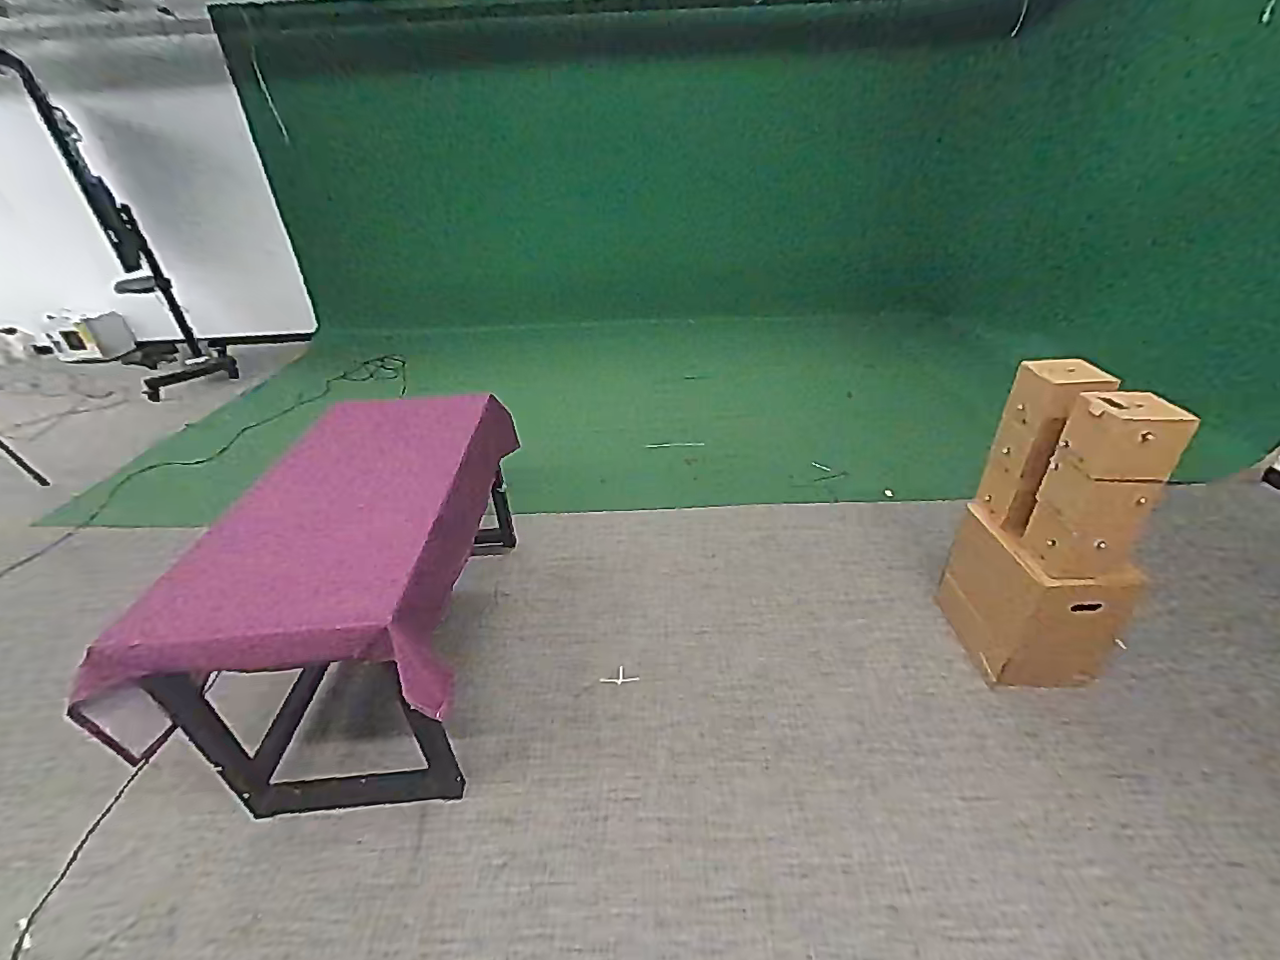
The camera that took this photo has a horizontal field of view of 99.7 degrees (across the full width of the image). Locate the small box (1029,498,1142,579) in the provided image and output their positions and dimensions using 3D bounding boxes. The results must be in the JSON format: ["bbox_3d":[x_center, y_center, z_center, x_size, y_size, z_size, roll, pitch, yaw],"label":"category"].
[{"bbox_3d":[1.244,0.165,1.533,0.179,0.176,0.168,0,32,4],"label":"small box"}]

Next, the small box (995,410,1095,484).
[{"bbox_3d":[1.218,-0.097,1.647,0.179,0.176,0.168,-3,33,4],"label":"small box"}]

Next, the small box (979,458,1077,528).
[{"bbox_3d":[1.232,0.041,1.734,0.179,0.176,0.168,-3,34,2],"label":"small box"}]
